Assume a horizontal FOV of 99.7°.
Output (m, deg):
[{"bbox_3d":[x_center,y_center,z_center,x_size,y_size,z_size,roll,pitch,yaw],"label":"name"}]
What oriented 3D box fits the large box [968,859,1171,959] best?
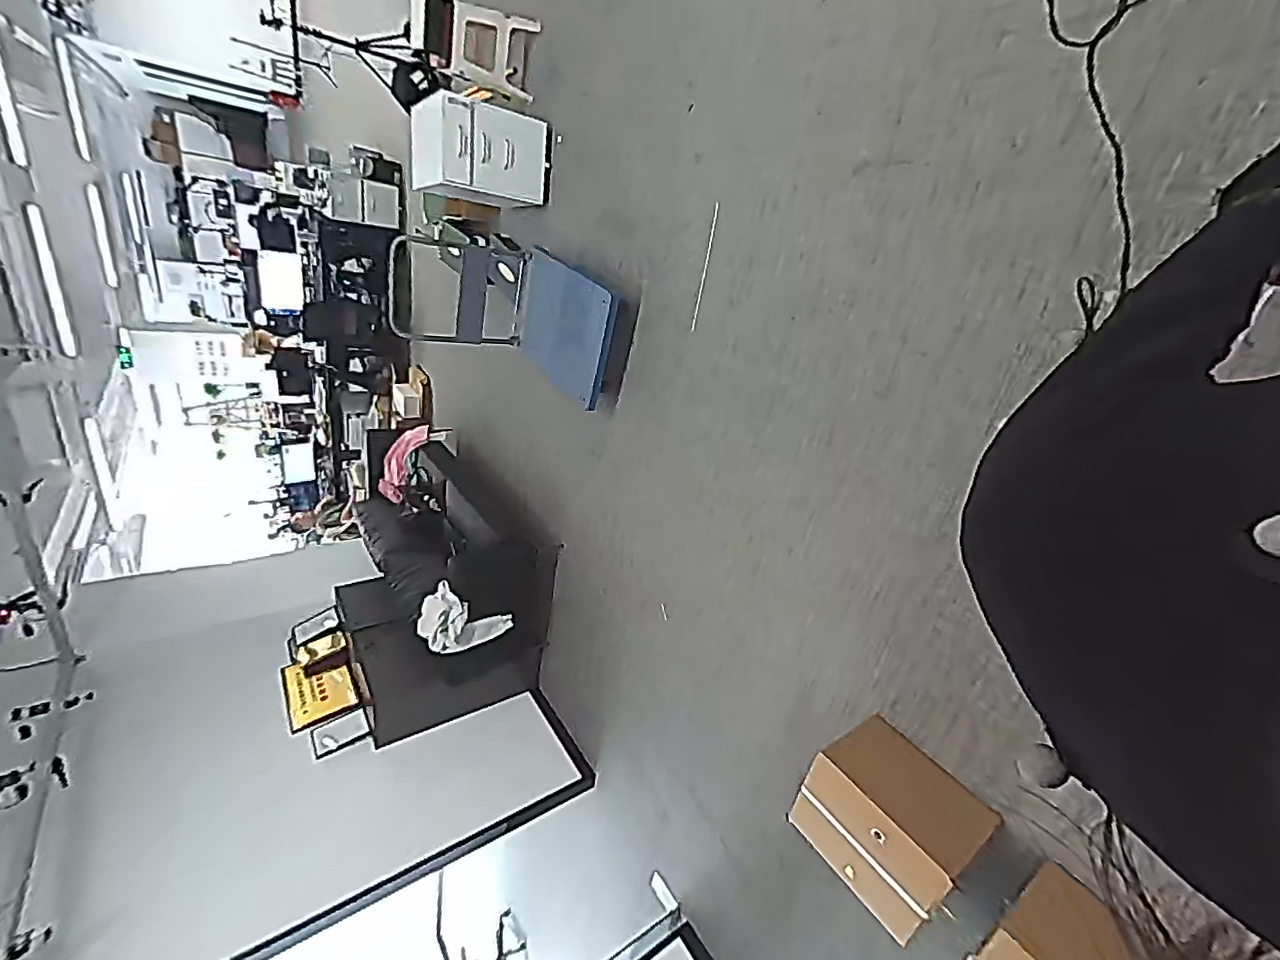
[{"bbox_3d":[1.018,1.206,1.233,0.408,0.320,0.320,36,124,42],"label":"large box"}]
